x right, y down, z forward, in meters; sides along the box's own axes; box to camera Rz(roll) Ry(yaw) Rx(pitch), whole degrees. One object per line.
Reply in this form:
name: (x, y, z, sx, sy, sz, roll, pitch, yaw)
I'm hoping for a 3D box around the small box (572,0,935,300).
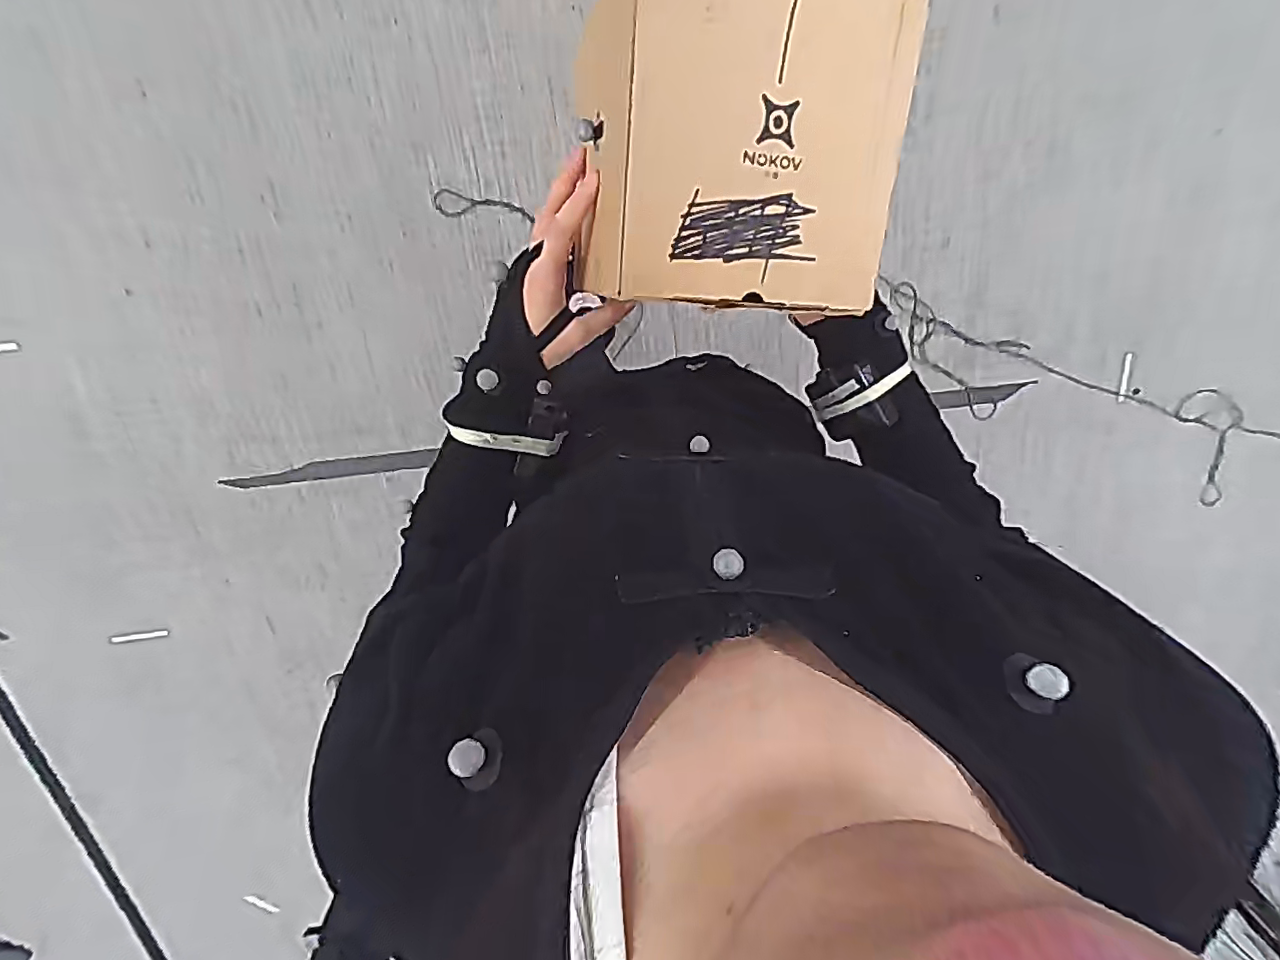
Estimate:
small box: (0.050, -0.220, 0.358, 0.168, 0.176, 0.179, -2, 110, -16)
